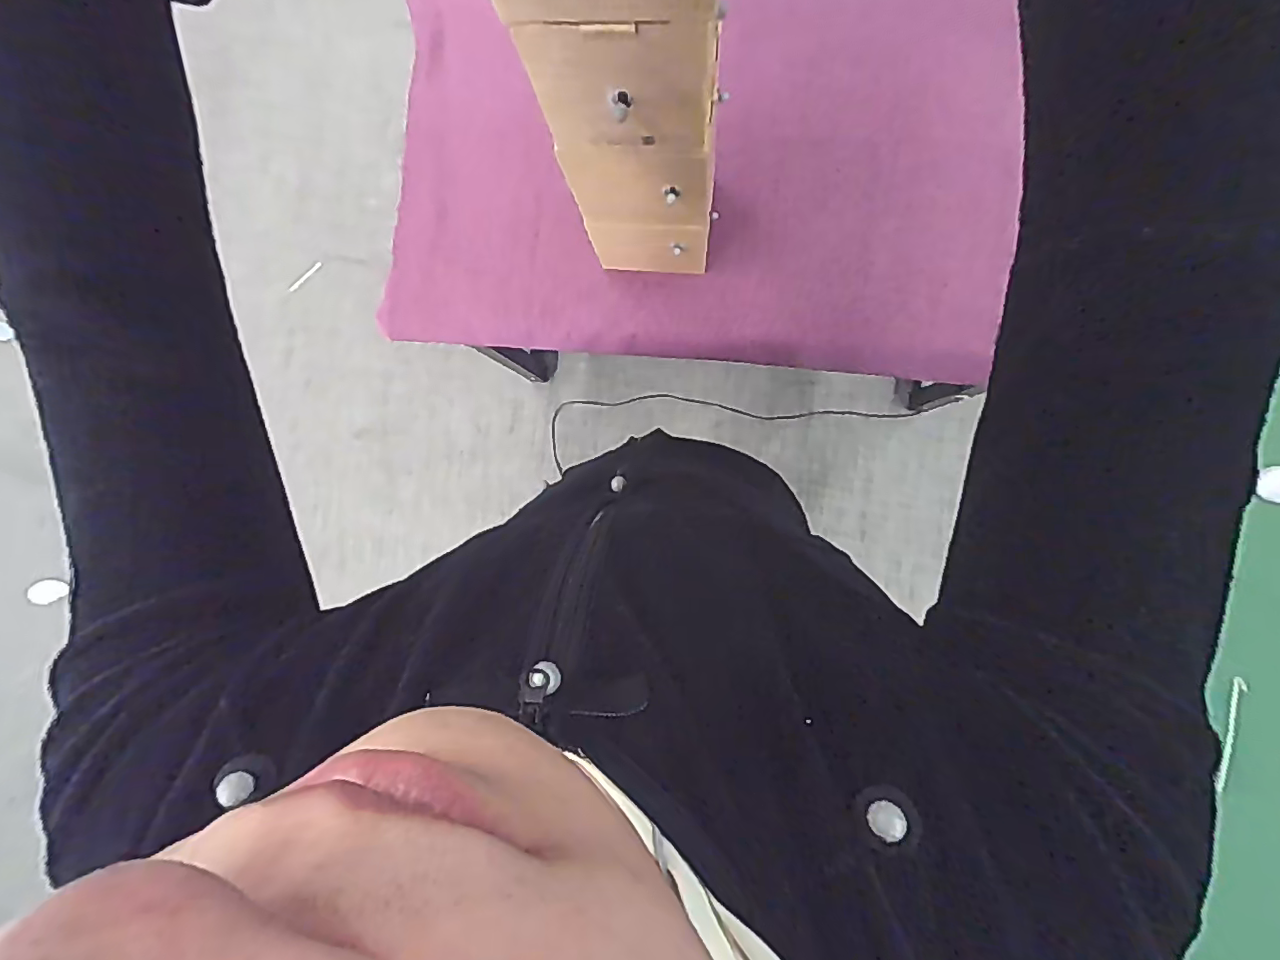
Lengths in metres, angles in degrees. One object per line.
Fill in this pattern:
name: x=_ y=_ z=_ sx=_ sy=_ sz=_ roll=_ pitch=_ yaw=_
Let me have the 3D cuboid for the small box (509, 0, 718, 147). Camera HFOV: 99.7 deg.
small box: x=-0.012 y=-0.448 z=0.512 sx=0.168 sy=0.176 sz=0.179 roll=5 pitch=90 yaw=6

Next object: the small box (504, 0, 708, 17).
small box: x=-0.028 y=-0.448 z=0.348 sx=0.179 sy=0.176 sz=0.168 roll=5 pitch=89 yaw=5

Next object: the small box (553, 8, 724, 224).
small box: x=0.005 y=-0.440 z=0.674 sx=0.179 sy=0.176 sz=0.168 roll=6 pitch=90 yaw=7
